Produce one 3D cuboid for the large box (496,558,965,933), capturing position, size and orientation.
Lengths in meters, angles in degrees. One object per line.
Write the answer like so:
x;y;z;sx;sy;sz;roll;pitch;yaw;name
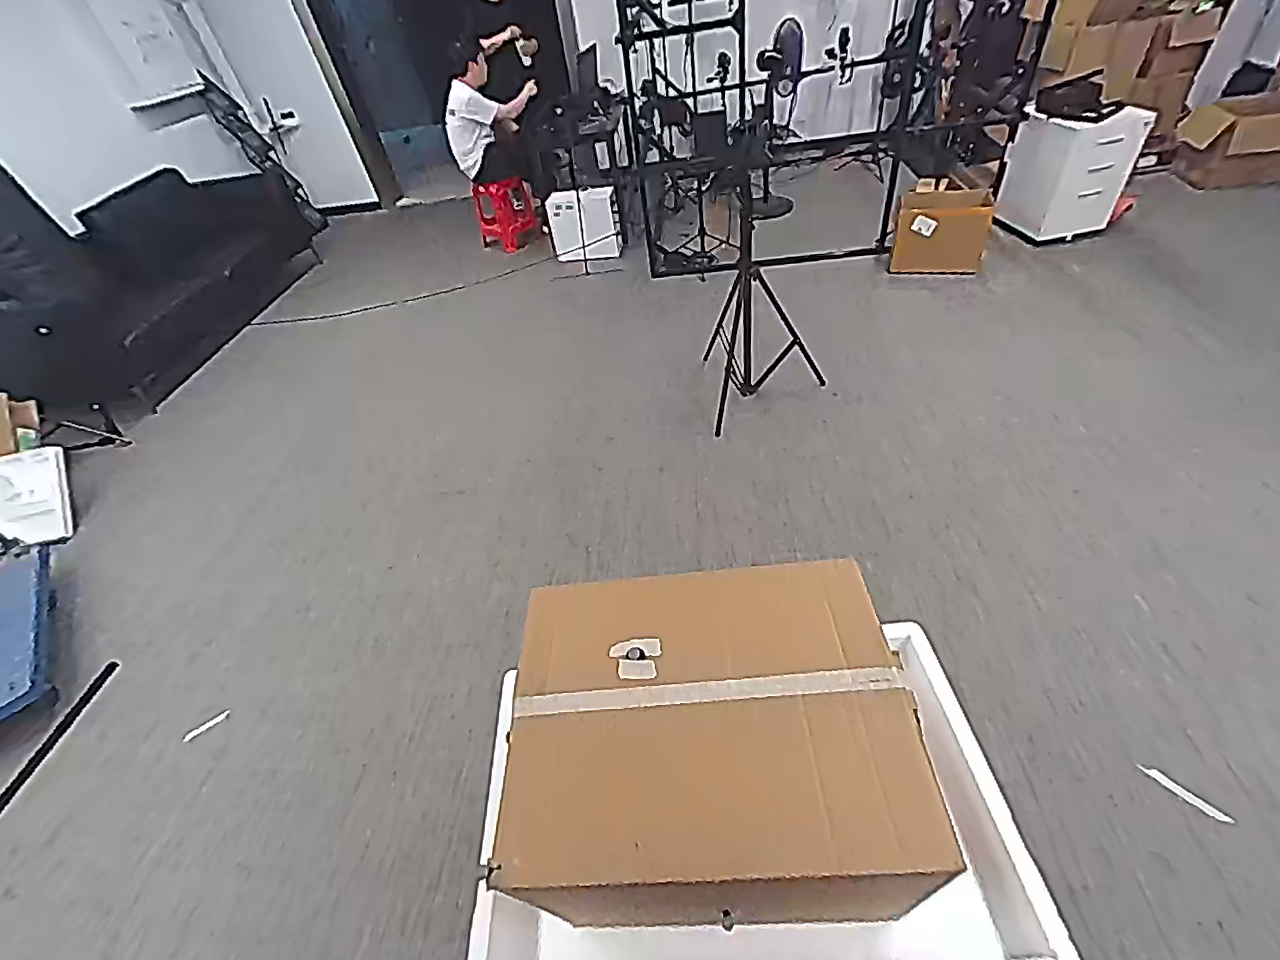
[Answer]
0.090;0.330;0.660;0.408;0.320;0.320;-8;43;6;large box
